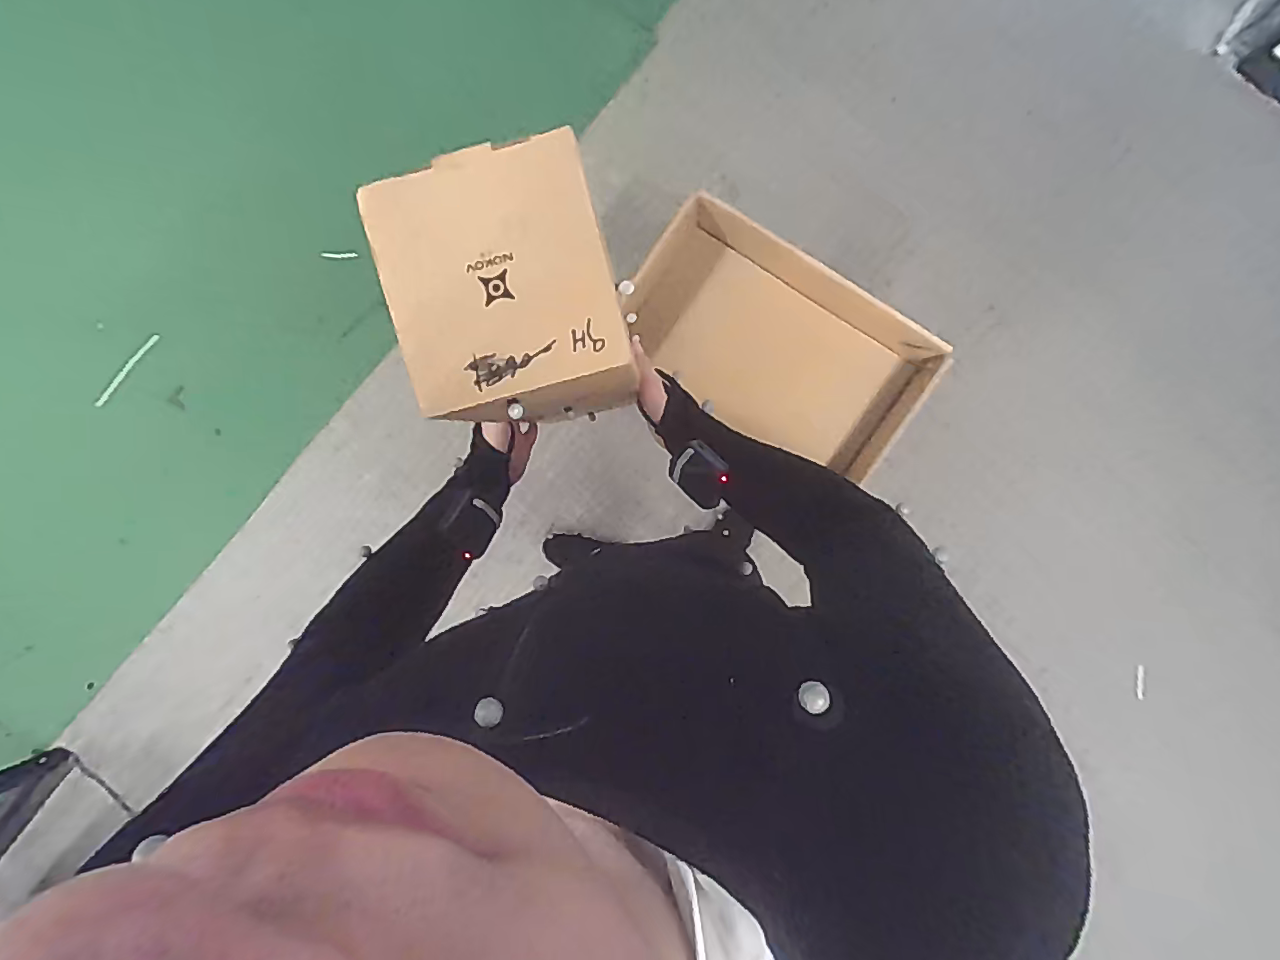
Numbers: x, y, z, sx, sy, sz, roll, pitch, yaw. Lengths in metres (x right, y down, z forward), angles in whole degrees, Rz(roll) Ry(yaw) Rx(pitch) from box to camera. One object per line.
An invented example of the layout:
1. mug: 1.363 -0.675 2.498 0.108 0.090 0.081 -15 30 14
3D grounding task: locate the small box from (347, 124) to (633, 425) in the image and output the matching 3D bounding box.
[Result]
1. small box: -0.106 -0.151 0.463 0.168 0.176 0.179 -15 94 3
